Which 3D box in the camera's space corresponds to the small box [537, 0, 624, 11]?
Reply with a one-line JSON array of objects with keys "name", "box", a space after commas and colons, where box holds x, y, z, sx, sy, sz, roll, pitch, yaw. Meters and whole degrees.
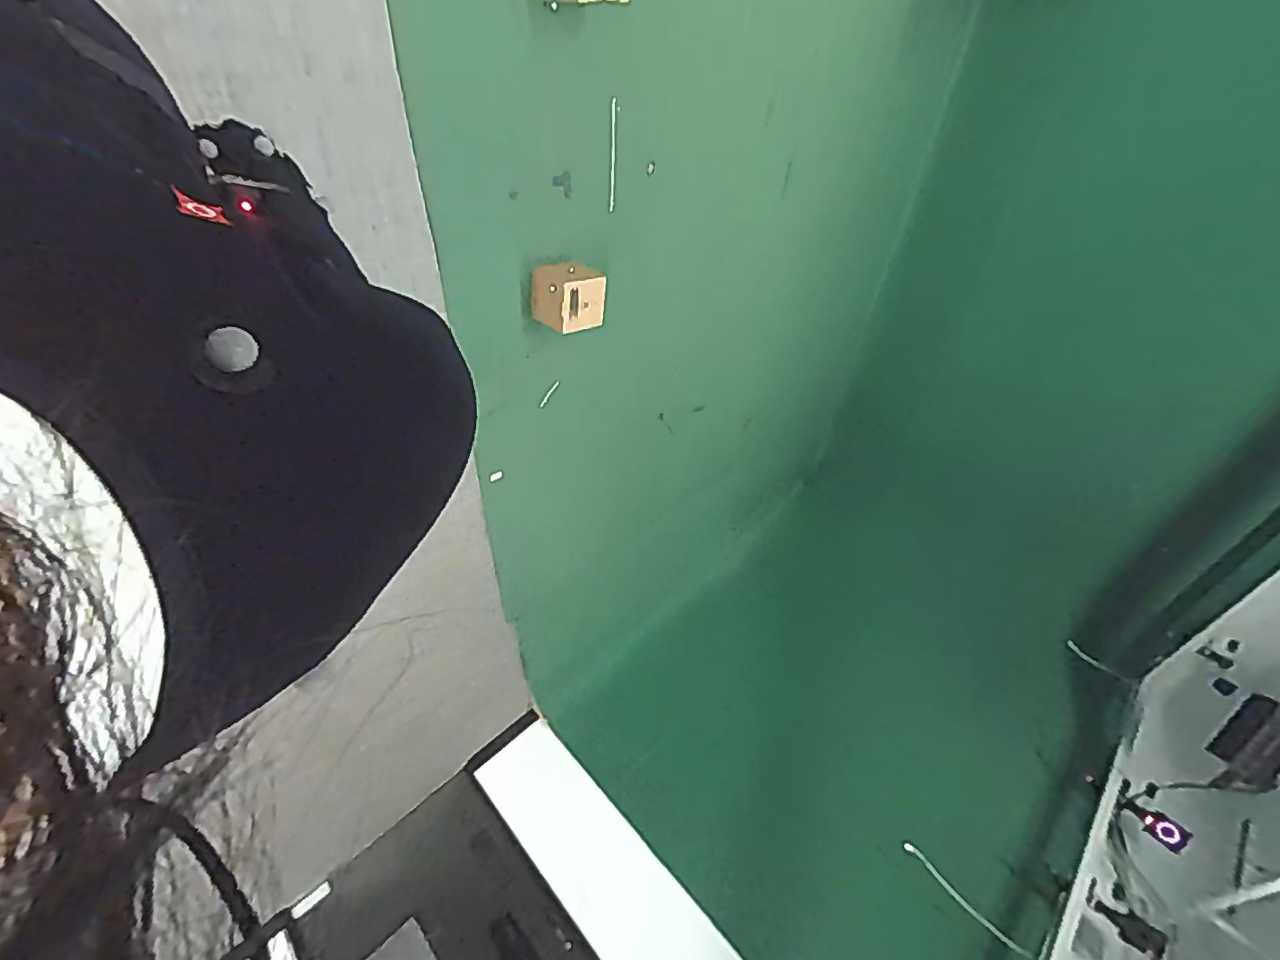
[{"name": "small box", "box": [-0.155, -1.243, 1.294, 0.168, 0.176, 0.179, -33, 141, -32]}]
